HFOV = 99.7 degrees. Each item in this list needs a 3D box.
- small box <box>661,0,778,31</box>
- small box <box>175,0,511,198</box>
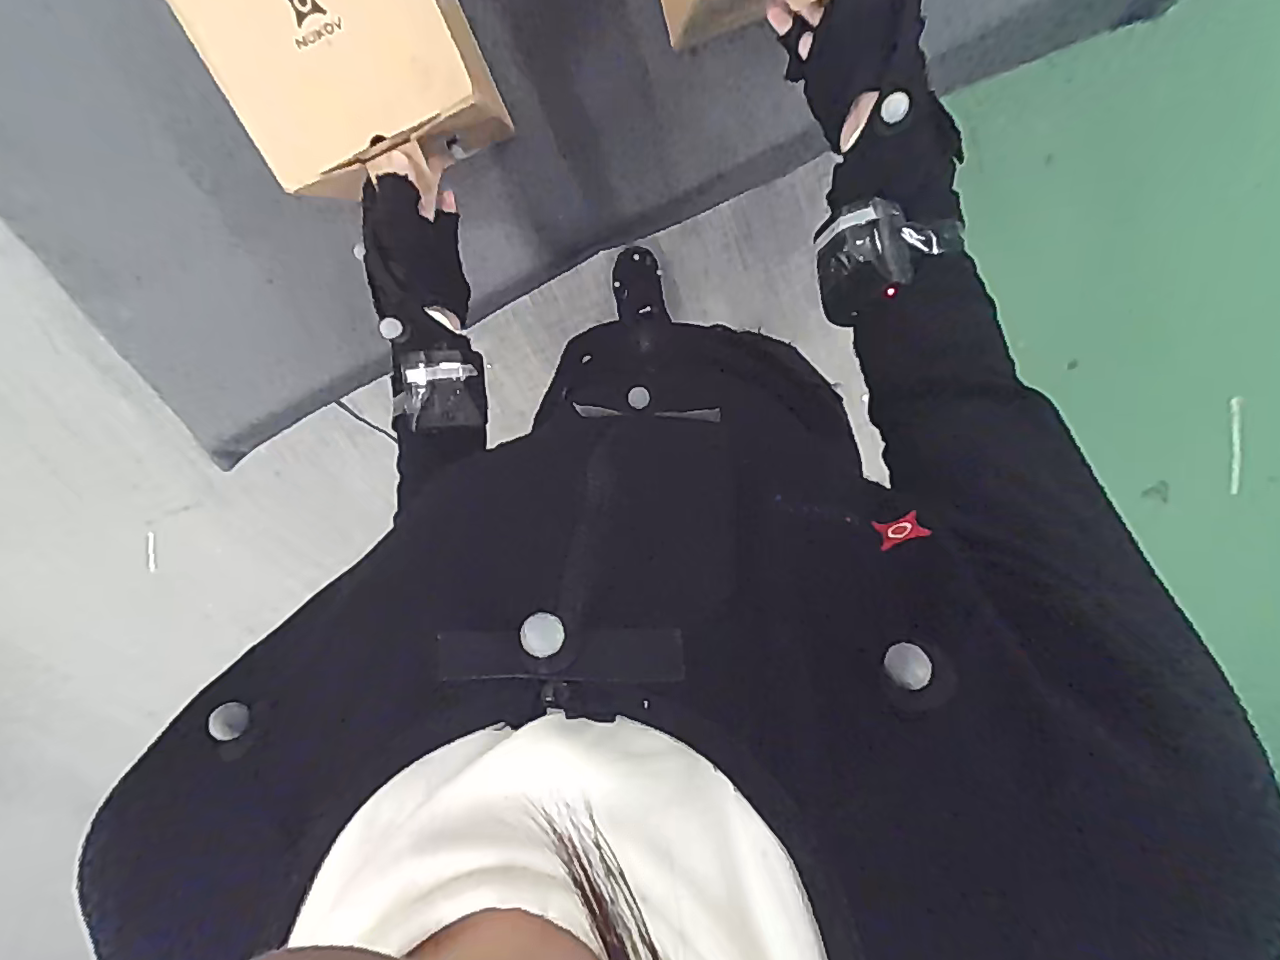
[{"bbox_3d":[0.084,-0.458,0.382,0.168,0.176,0.179,-18,117,6],"label":"small box"},{"bbox_3d":[-0.225,-0.354,0.443,0.168,0.176,0.179,-22,114,8],"label":"small box"}]
